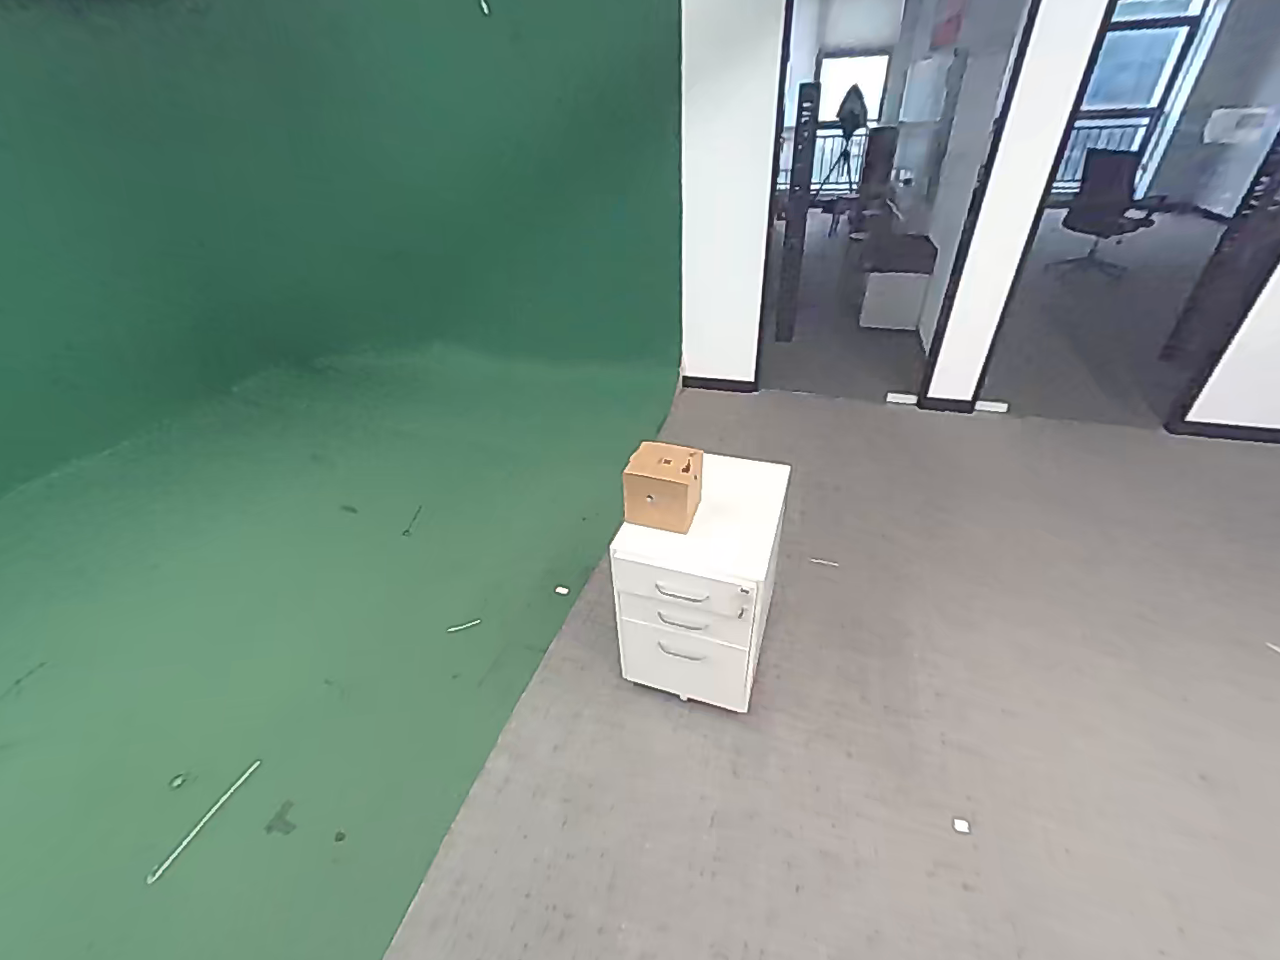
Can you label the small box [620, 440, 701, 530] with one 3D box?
[{"bbox_3d":[0.059,0.013,1.449,0.179,0.176,0.168,10,37,16],"label":"small box"}]
